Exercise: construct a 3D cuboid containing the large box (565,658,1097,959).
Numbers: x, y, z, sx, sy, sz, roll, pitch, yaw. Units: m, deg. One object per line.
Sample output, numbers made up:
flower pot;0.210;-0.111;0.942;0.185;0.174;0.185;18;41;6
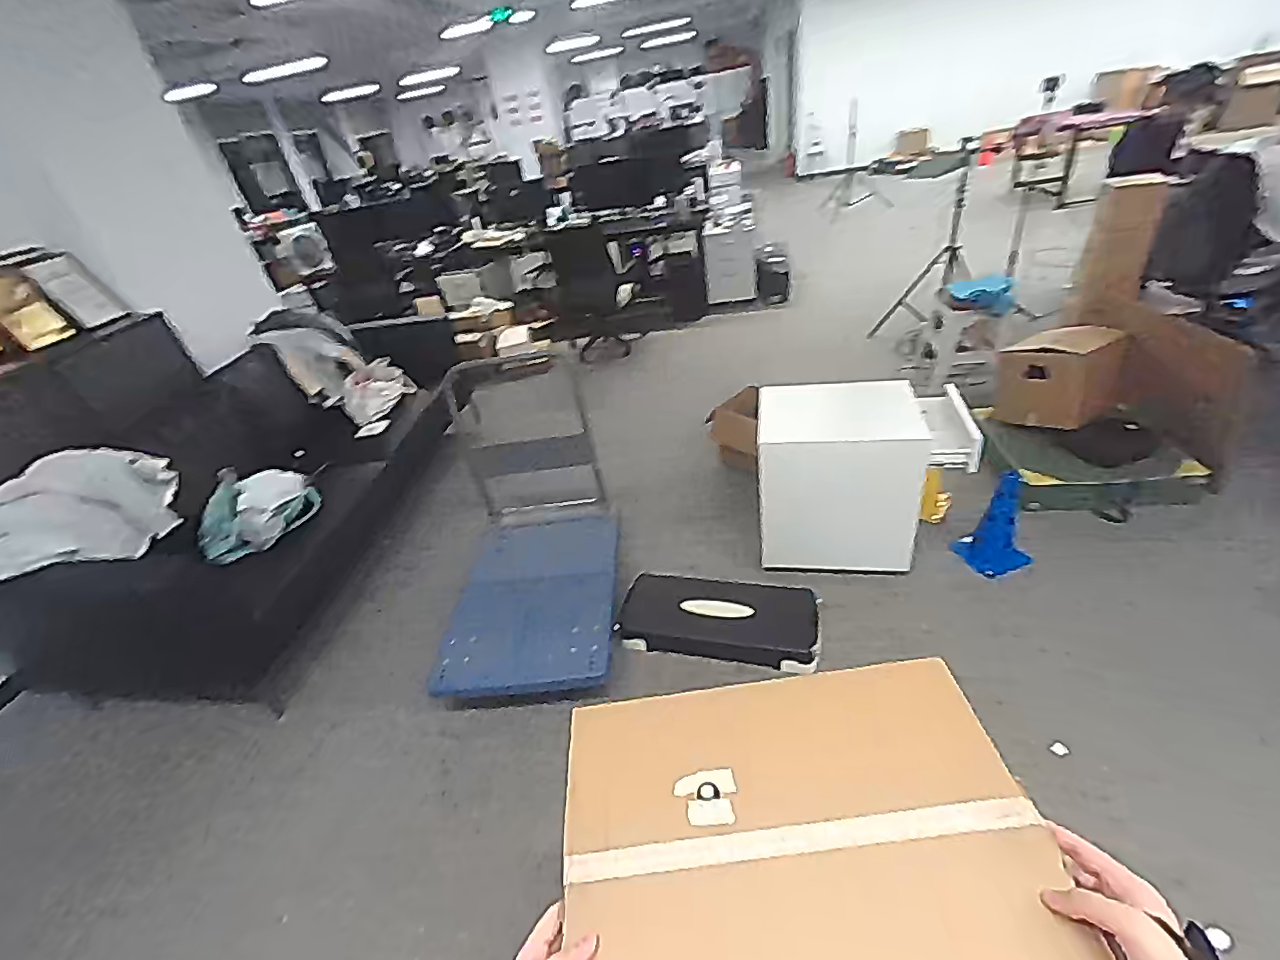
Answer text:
large box;0.159;0.438;0.569;0.408;0.320;0.320;-11;37;4
